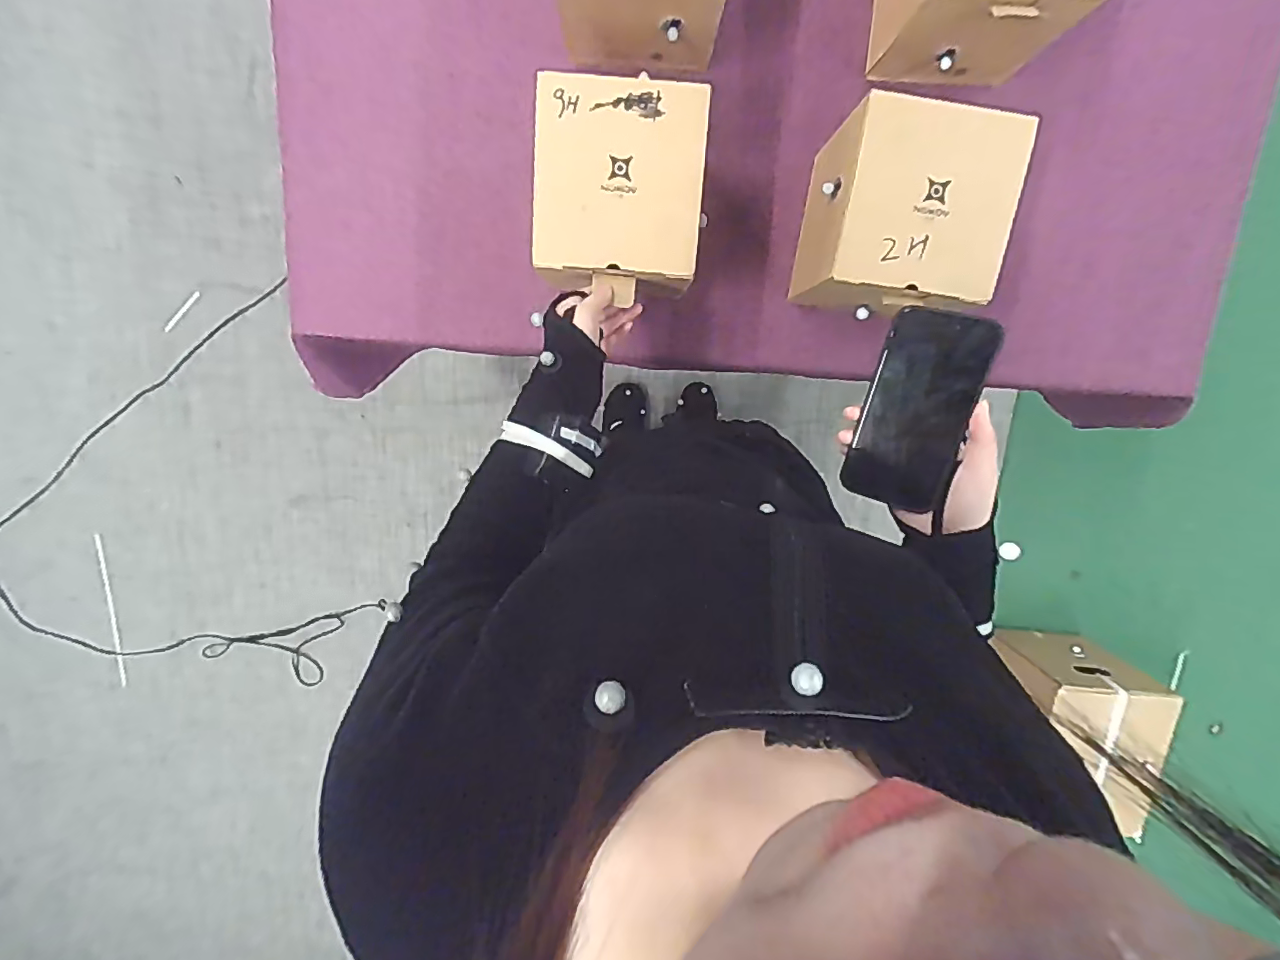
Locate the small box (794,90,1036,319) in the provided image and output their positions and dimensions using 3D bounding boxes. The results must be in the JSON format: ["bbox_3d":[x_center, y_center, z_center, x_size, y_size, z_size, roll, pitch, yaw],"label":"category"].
[{"bbox_3d":[0.285,-0.288,0.605,0.168,0.176,0.179,9,102,-1],"label":"small box"}]

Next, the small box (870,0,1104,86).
[{"bbox_3d":[0.355,-0.546,0.553,0.168,0.176,0.179,2,103,0],"label":"small box"}]

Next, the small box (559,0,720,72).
[{"bbox_3d":[0.005,-0.558,0.552,0.168,0.176,0.179,4,102,-2],"label":"small box"}]

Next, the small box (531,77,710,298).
[{"bbox_3d":[-0.020,-0.305,0.604,0.168,0.176,0.179,4,102,-1],"label":"small box"}]
